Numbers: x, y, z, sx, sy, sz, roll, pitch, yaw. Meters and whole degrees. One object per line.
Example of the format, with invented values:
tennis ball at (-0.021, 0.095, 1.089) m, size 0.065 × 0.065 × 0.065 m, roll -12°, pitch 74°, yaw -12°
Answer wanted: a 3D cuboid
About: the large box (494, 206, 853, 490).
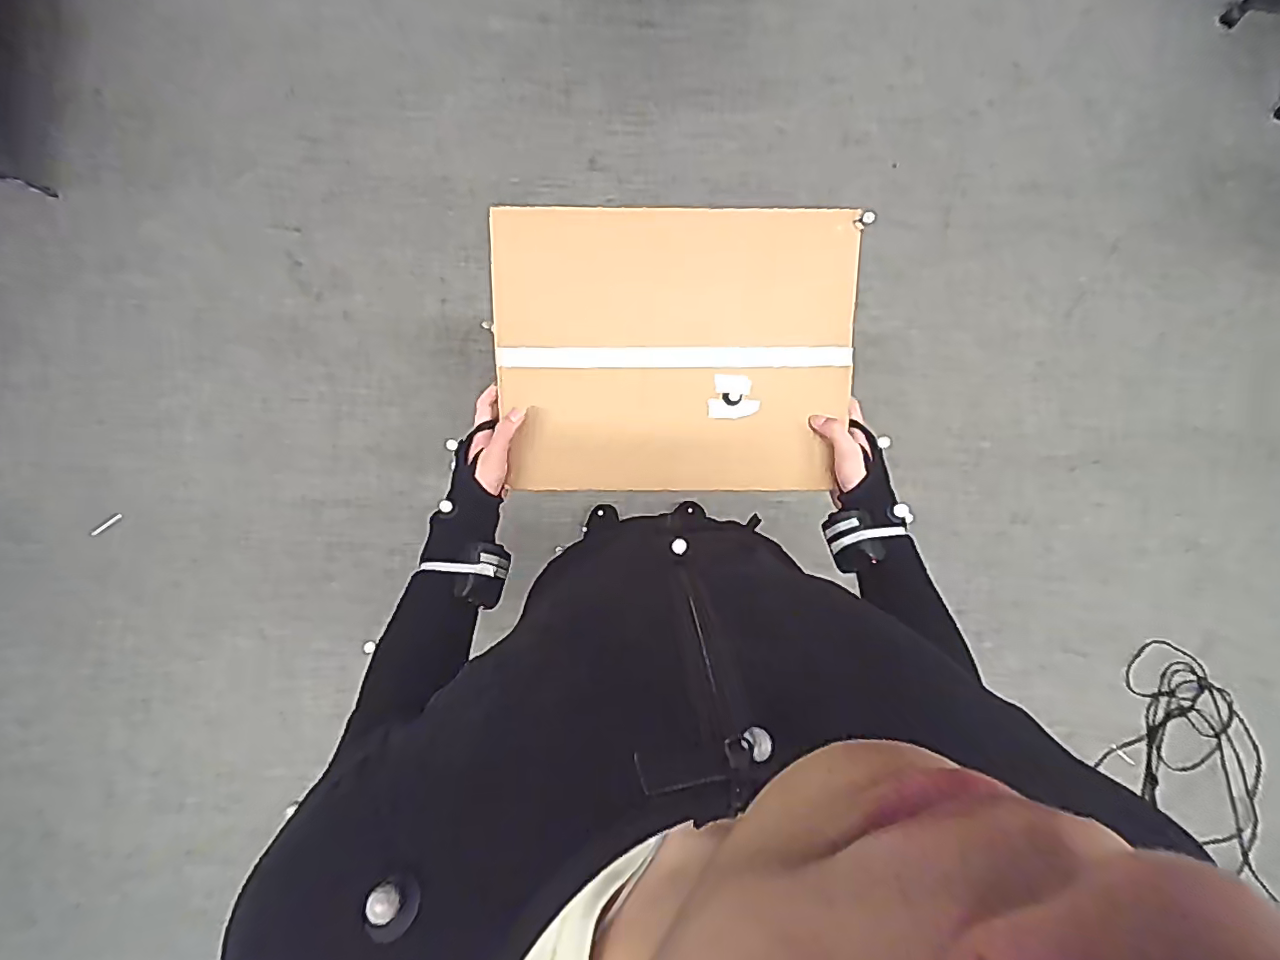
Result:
large box at (0.037, -0.174, 0.767) m, size 0.408 × 0.320 × 0.320 m, roll -1°, pitch 102°, yaw -1°
